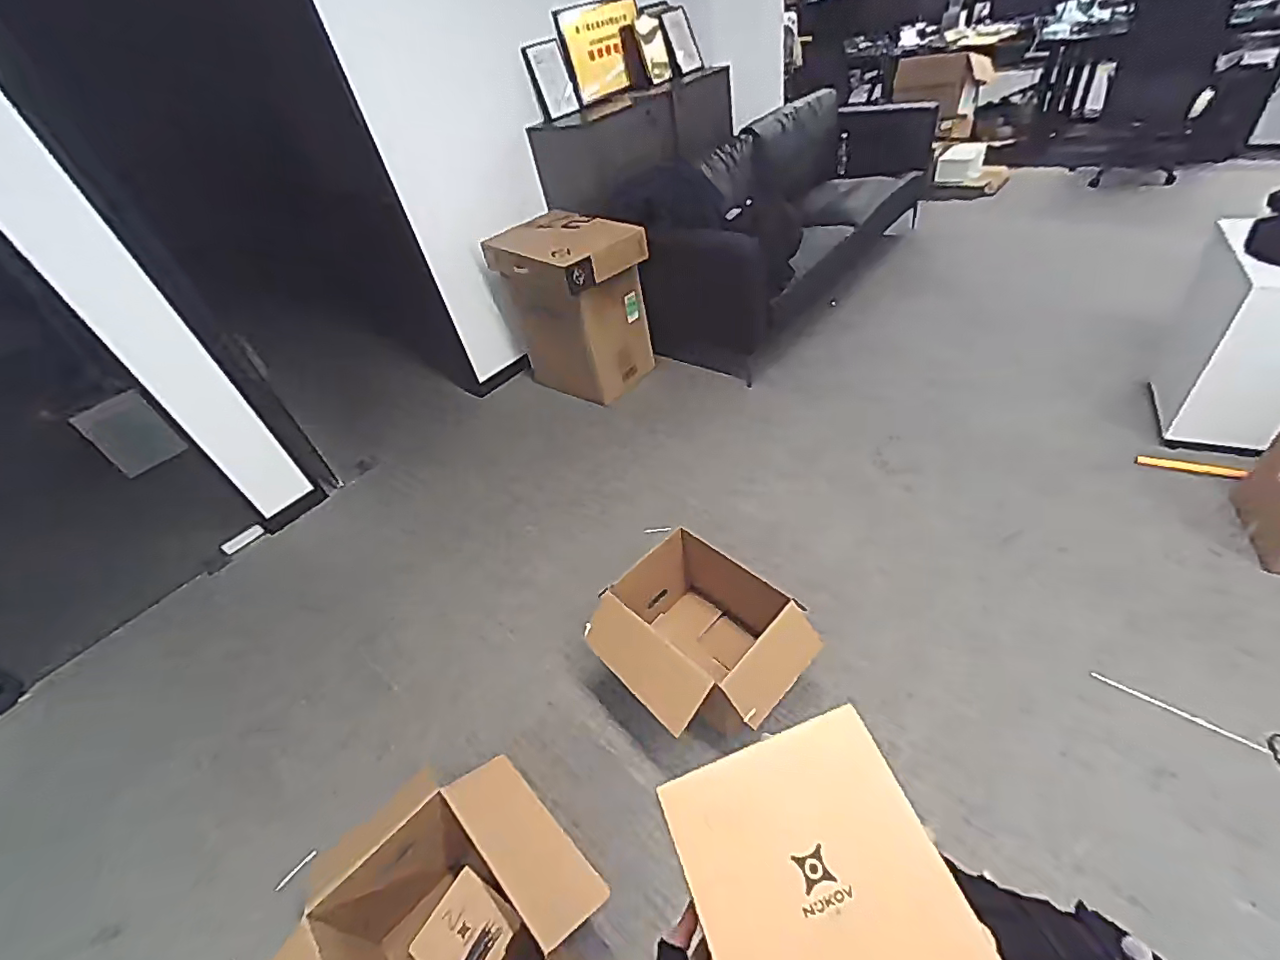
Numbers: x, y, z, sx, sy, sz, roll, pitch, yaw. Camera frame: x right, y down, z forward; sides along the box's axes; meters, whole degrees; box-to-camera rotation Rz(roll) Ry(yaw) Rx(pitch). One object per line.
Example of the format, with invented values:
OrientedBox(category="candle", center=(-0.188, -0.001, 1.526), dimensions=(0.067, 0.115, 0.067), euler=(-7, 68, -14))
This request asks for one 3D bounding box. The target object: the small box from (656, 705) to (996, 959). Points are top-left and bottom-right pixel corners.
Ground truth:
OrientedBox(category="small box", center=(0.119, 0.310, 0.422), dimensions=(0.168, 0.176, 0.179), euler=(-19, 54, -9))
